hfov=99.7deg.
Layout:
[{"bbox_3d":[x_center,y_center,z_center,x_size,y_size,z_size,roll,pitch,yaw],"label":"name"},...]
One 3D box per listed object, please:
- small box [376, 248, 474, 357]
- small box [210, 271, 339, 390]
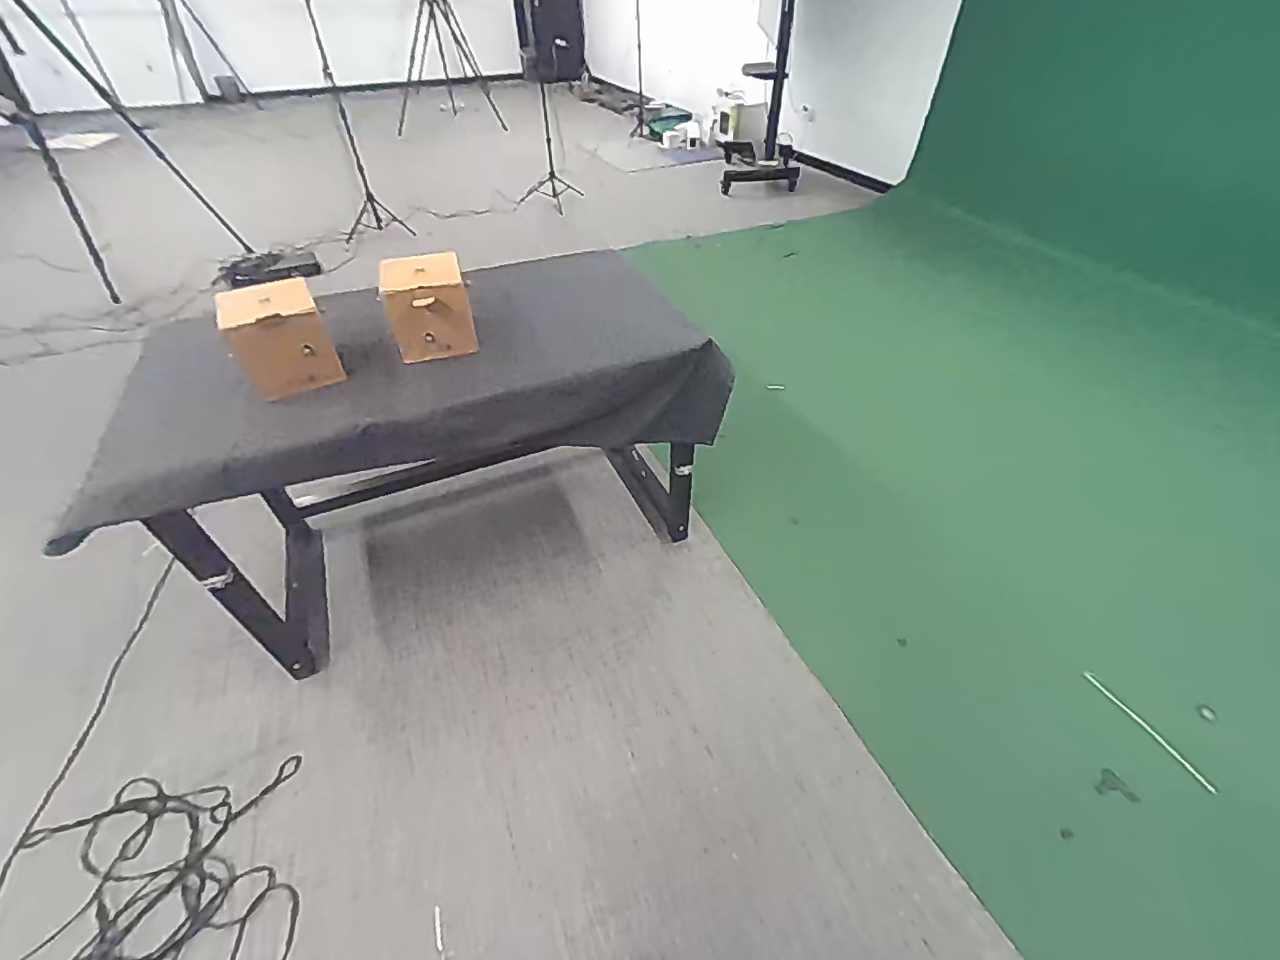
[{"bbox_3d":[-0.474,-0.396,1.204,0.168,0.176,0.179,-12,45,-14],"label":"small box"},{"bbox_3d":[-0.737,-0.299,1.100,0.168,0.176,0.179,-22,47,-24],"label":"small box"}]
